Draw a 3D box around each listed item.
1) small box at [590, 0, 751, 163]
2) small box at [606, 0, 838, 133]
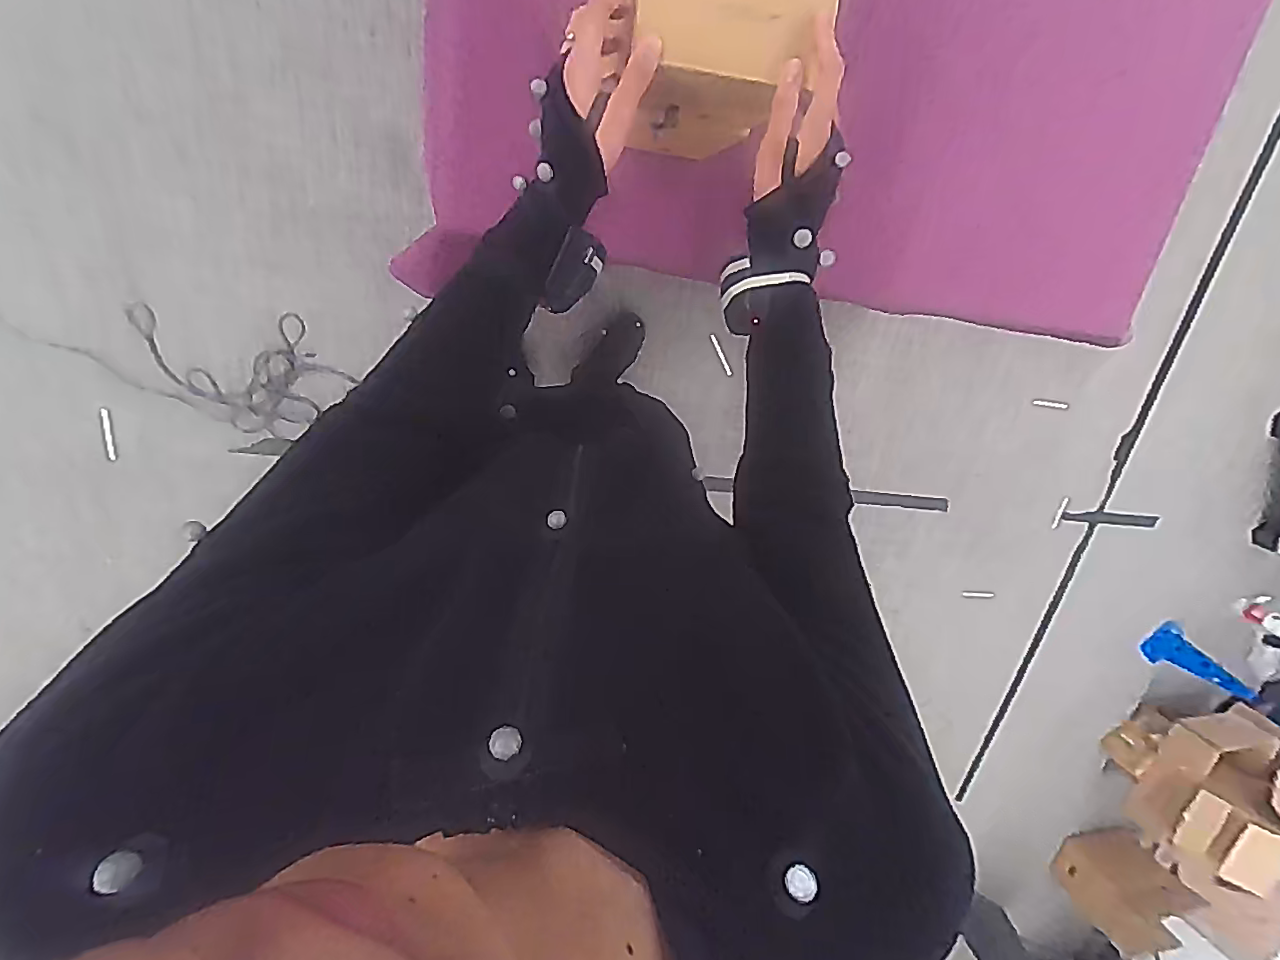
[{"bbox_3d":[0.037,-0.496,0.633,0.168,0.176,0.179,2,111,-13],"label":"small box"},{"bbox_3d":[0.065,-0.438,0.483,0.168,0.176,0.179,1,113,-13],"label":"small box"}]
